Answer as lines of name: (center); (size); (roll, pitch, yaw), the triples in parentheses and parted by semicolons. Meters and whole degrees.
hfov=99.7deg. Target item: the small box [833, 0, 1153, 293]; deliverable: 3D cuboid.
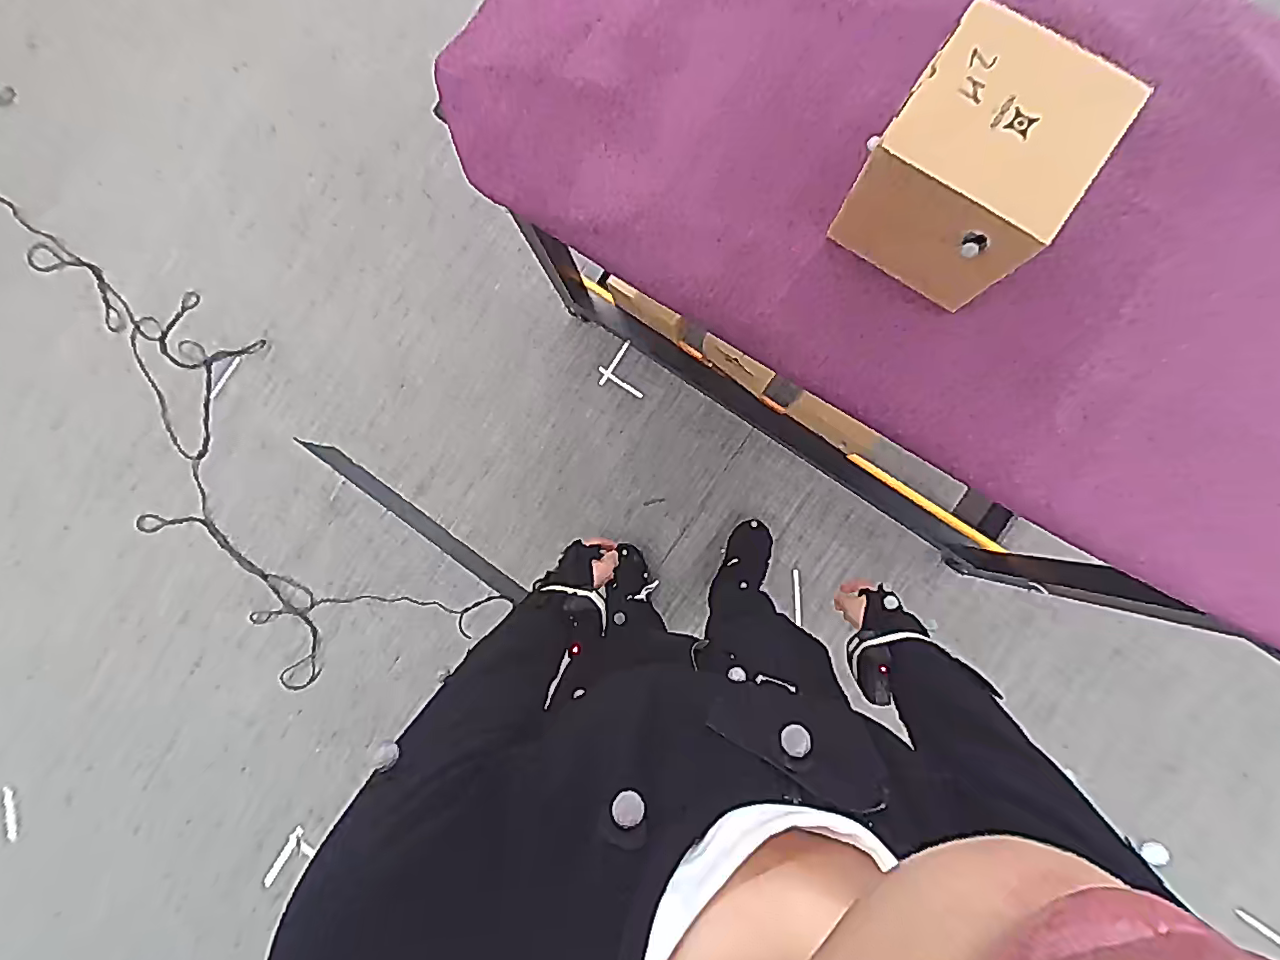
small box: (0.333, -0.318, 0.552); (0.179, 0.176, 0.168); (34, 89, 5)
